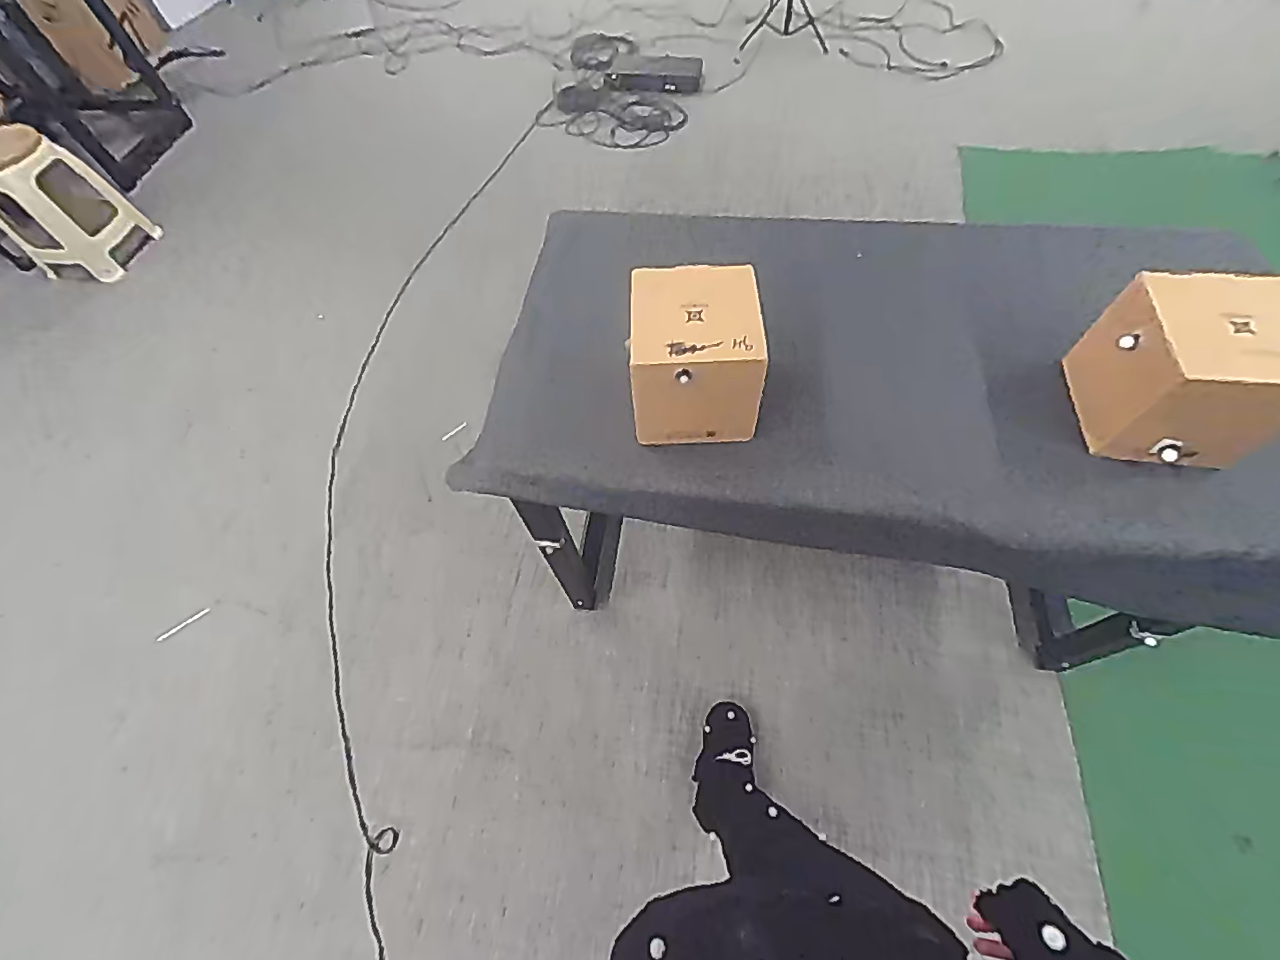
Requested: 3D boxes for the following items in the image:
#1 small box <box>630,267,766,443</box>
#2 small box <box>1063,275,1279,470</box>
[{"bbox_3d":[0.076,-0.170,0.756,0.168,0.176,0.179,-2,58,4],"label":"small box"},{"bbox_3d":[0.690,-0.135,0.694,0.168,0.176,0.179,5,61,9],"label":"small box"}]
